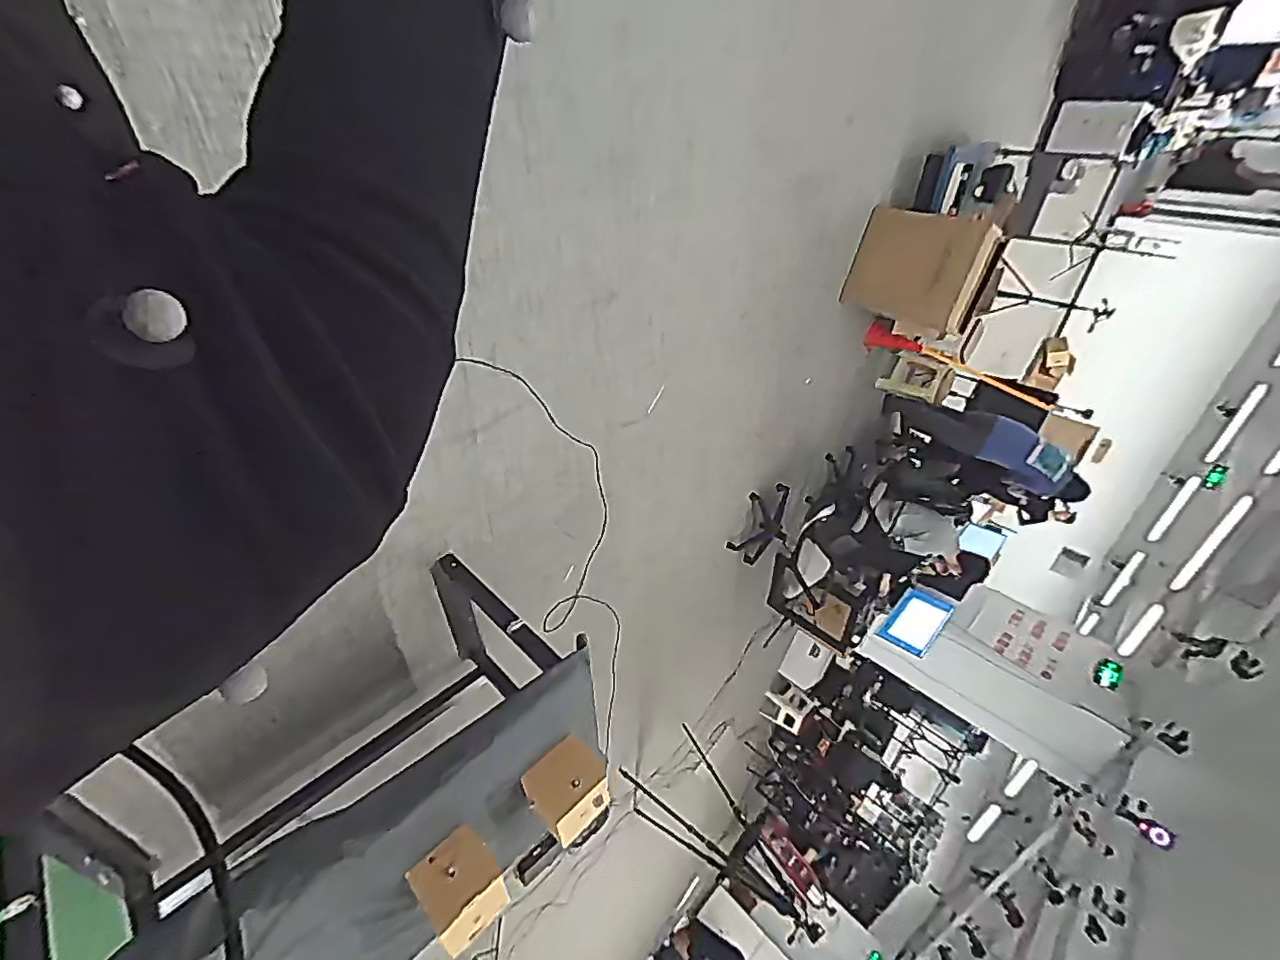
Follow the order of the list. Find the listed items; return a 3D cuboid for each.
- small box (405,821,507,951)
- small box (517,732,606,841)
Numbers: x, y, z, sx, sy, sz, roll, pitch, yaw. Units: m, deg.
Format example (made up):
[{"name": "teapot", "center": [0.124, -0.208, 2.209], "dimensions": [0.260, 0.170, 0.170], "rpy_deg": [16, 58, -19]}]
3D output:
[{"name": "small box", "center": [-0.453, 0.987, 1.331], "dimensions": [0.168, 0.176, 0.179], "rpy_deg": [-30, 135, -36]}, {"name": "small box", "center": [-0.219, 0.857, 1.526], "dimensions": [0.179, 0.176, 0.168], "rpy_deg": [-31, 136, -33]}]
